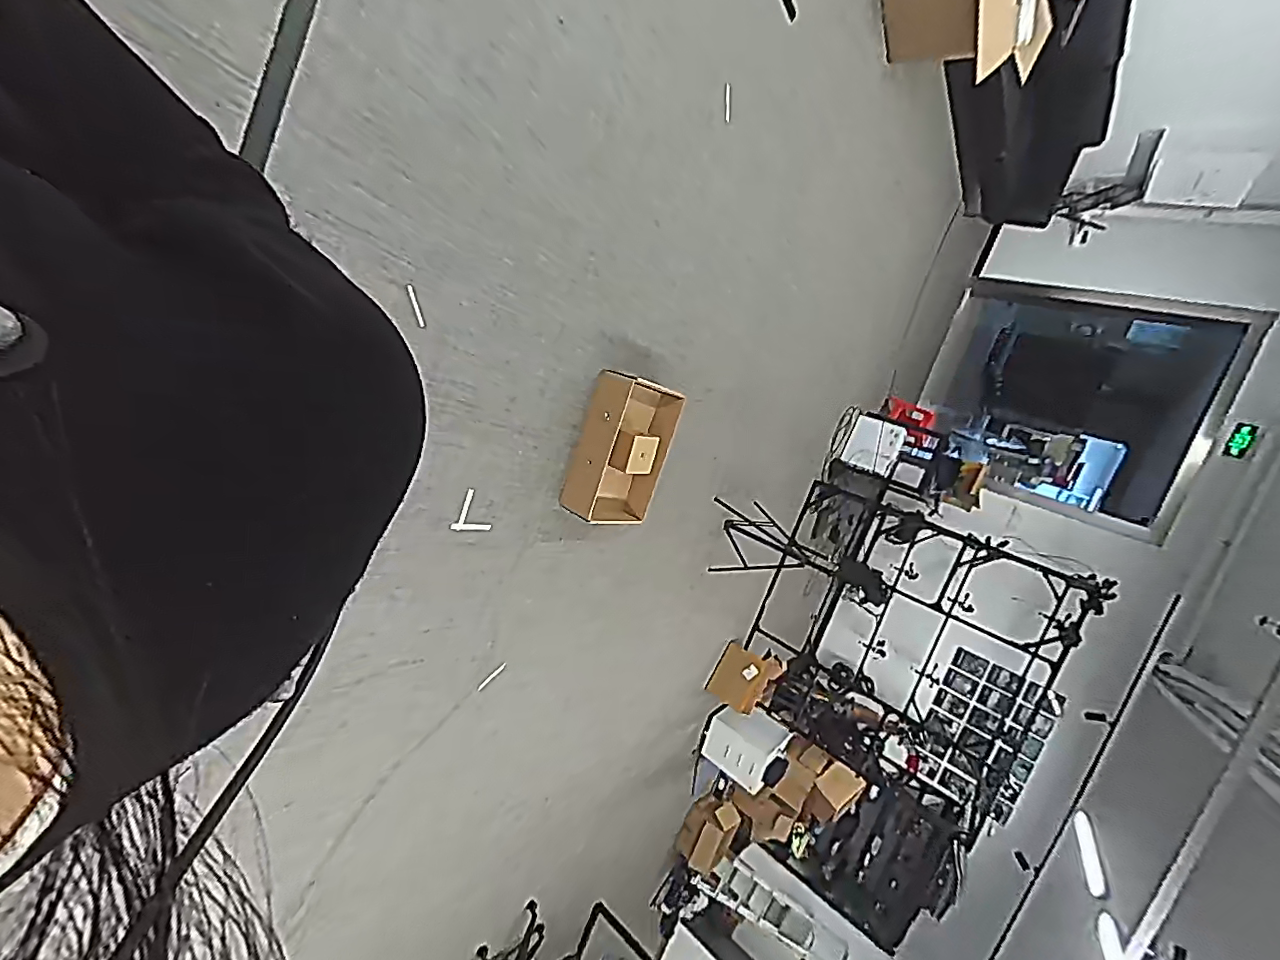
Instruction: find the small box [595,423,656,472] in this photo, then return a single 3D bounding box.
[{"bbox_3d":[-0.062,-0.139,2.312,0.179,0.176,0.168,-2,111,-52],"label":"small box"}]
